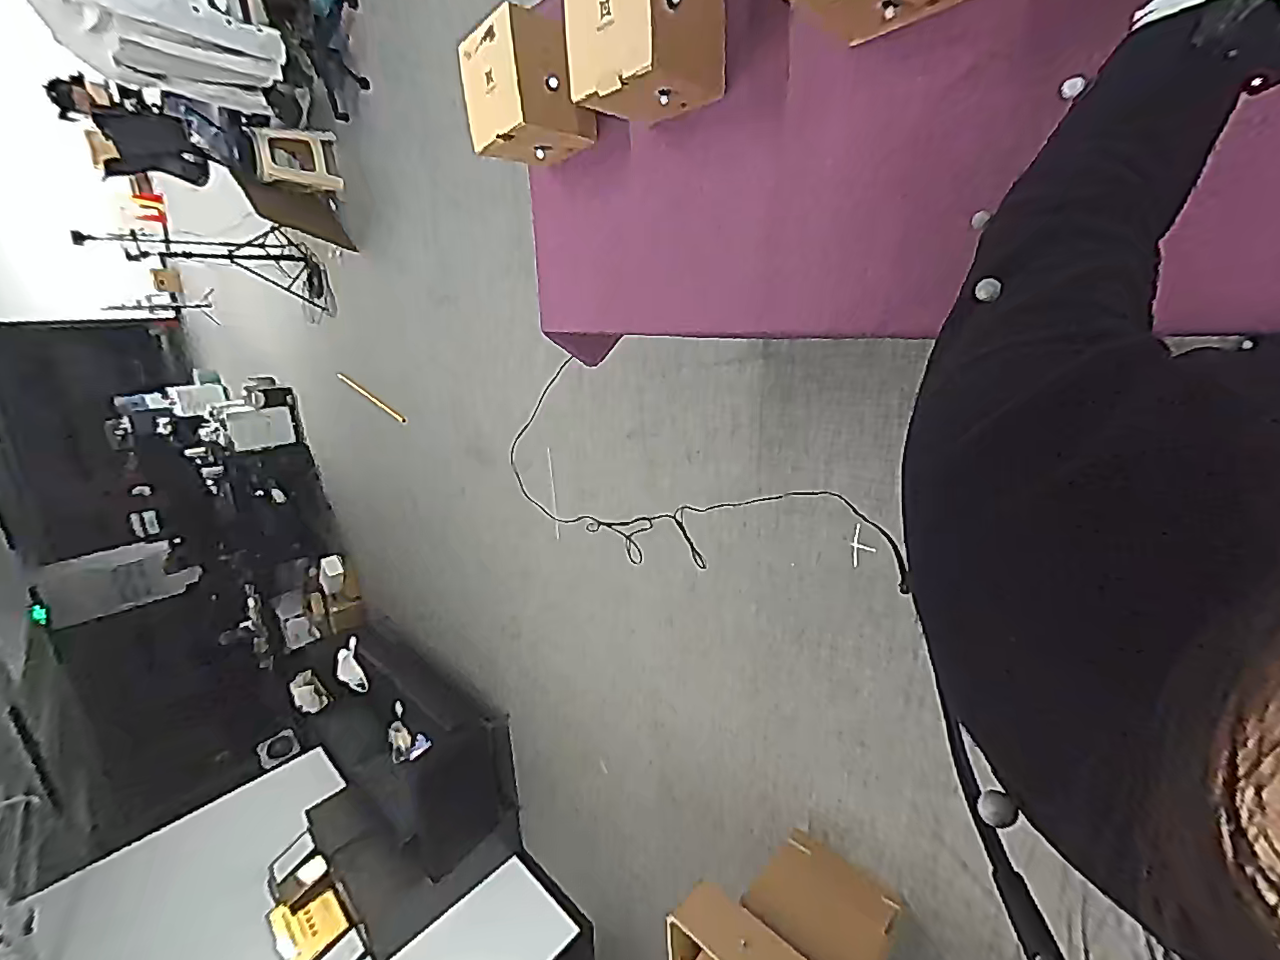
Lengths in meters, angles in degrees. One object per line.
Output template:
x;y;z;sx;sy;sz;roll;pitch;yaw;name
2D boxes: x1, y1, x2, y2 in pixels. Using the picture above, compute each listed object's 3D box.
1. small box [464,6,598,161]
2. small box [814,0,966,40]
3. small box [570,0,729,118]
-0.192;-0.704;0.989;0.168;0.176;0.179;8;110;44;small box
0.265;-0.602;0.550;0.168;0.176;0.179;12;112;43;small box
0.017;-0.655;0.790;0.168;0.176;0.179;14;114;42;small box
